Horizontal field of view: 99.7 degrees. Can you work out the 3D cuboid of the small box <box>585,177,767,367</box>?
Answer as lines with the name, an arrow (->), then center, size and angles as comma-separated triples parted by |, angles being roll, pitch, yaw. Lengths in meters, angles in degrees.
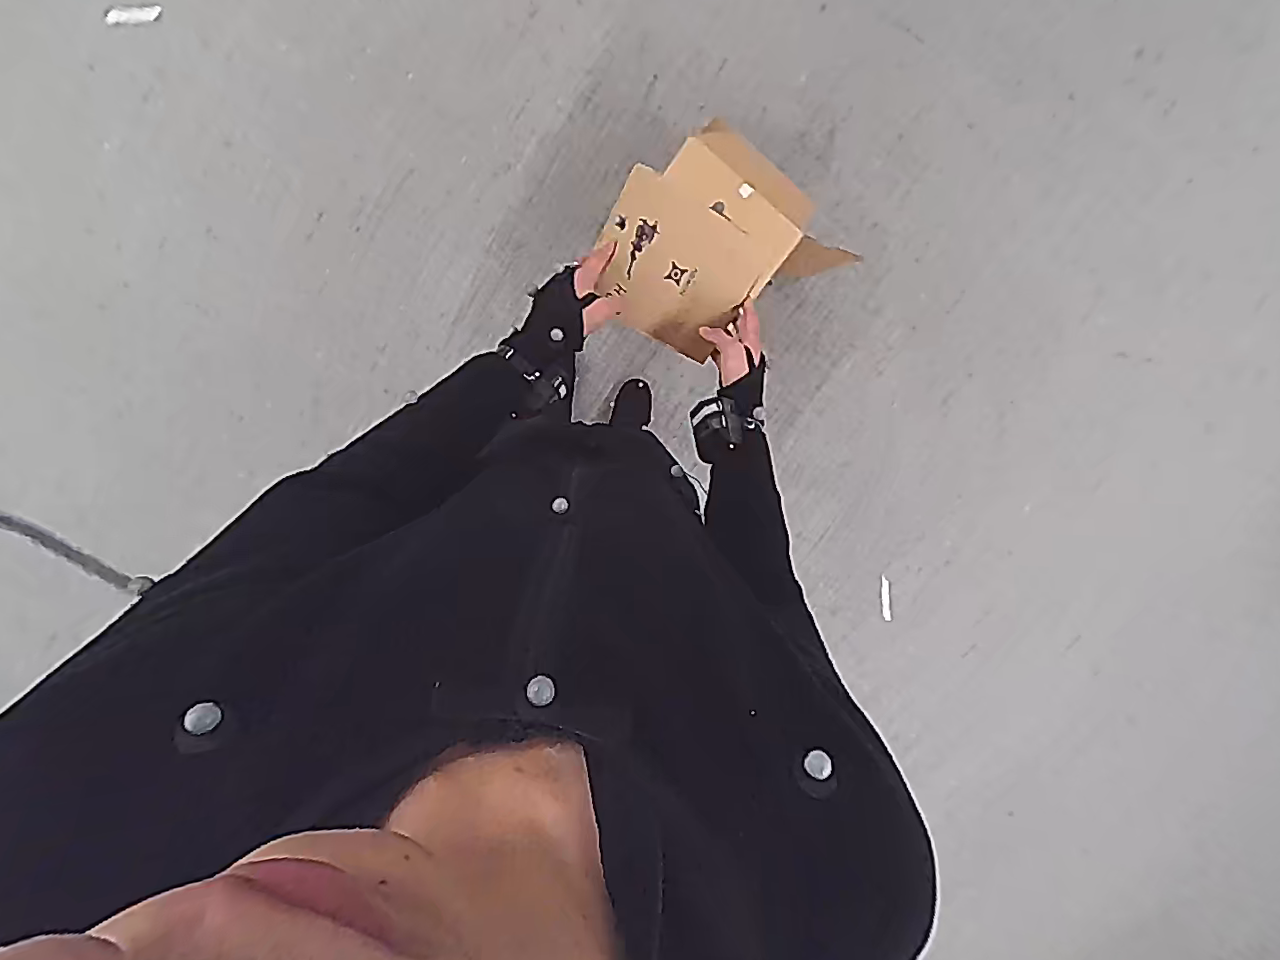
small box -> 0.037, -0.289, 0.741 | 0.179, 0.176, 0.168 | 22, 118, -22
